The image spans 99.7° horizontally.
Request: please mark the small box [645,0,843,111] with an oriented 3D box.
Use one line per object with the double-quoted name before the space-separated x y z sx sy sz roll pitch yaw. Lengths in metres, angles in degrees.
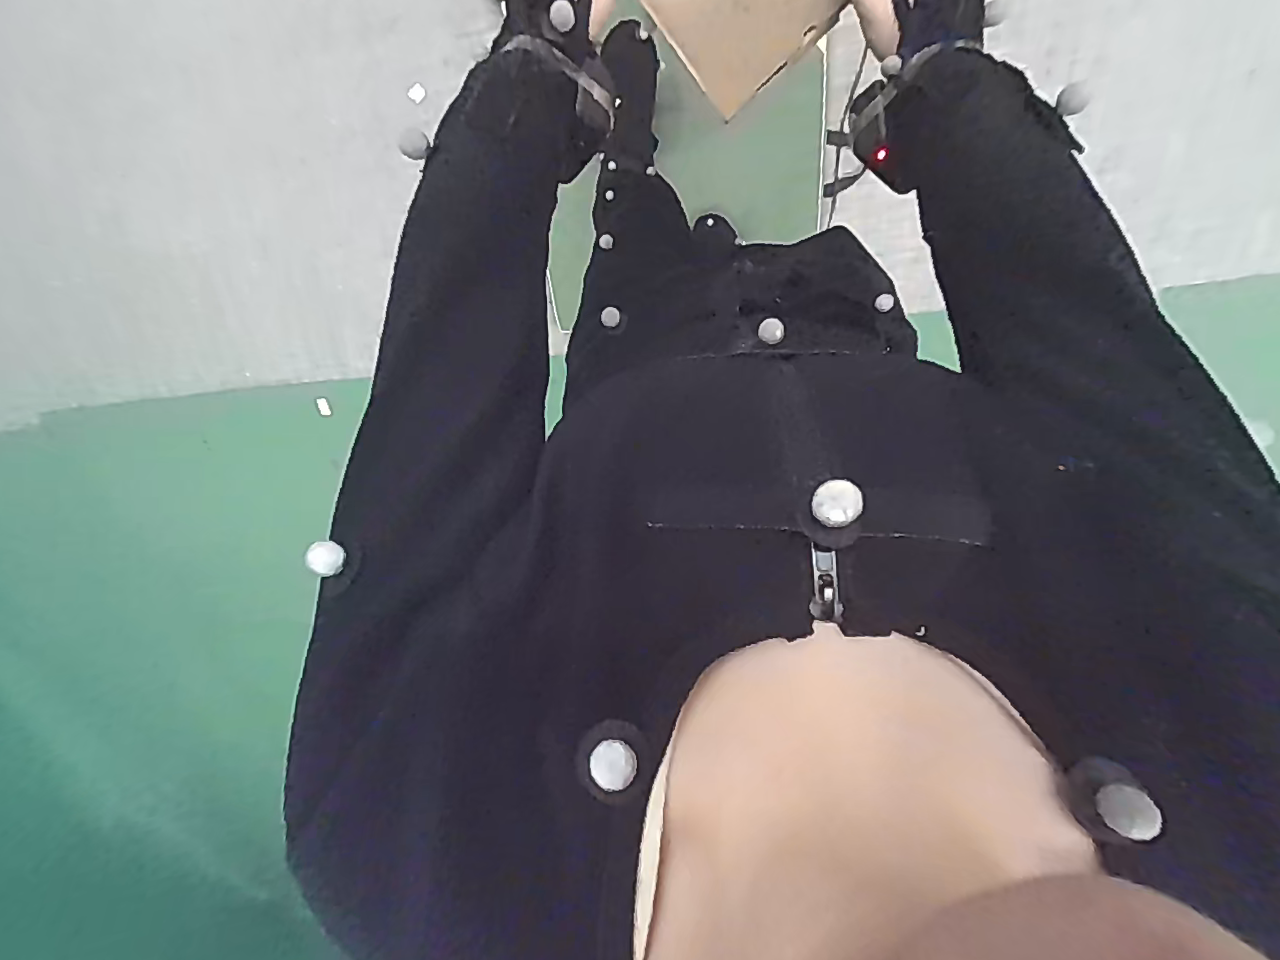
"small box" 0.074 -0.449 0.428 0.168 0.176 0.179 -33 126 29
